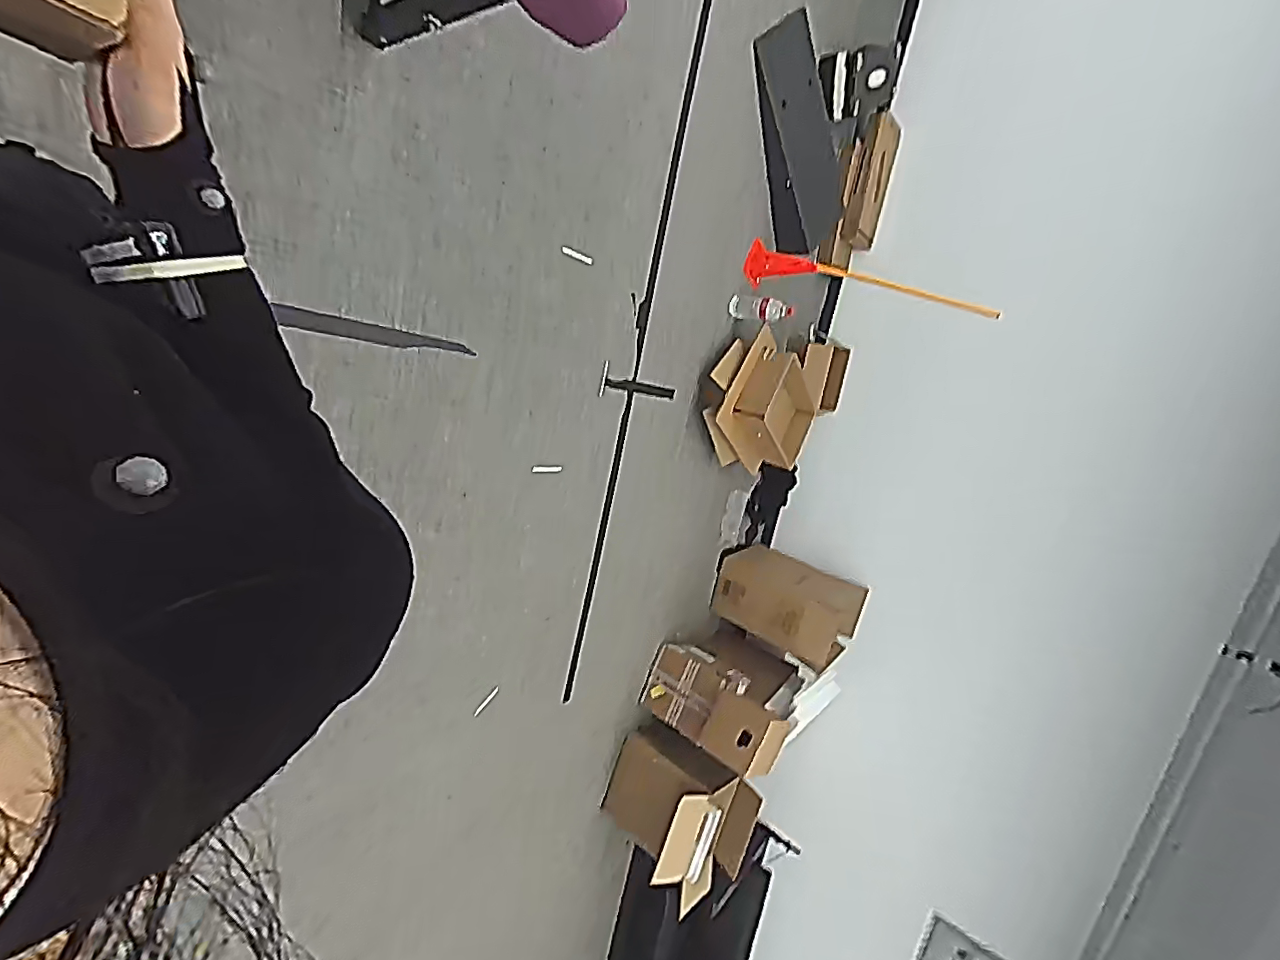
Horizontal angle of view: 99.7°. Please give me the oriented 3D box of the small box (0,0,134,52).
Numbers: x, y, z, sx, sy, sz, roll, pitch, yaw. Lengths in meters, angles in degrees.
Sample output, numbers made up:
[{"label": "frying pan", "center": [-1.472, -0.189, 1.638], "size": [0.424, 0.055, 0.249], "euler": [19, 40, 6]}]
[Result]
[{"label": "small box", "center": [-0.332, -0.326, 0.231], "size": [0.168, 0.176, 0.179], "euler": [2, 111, -53]}]
